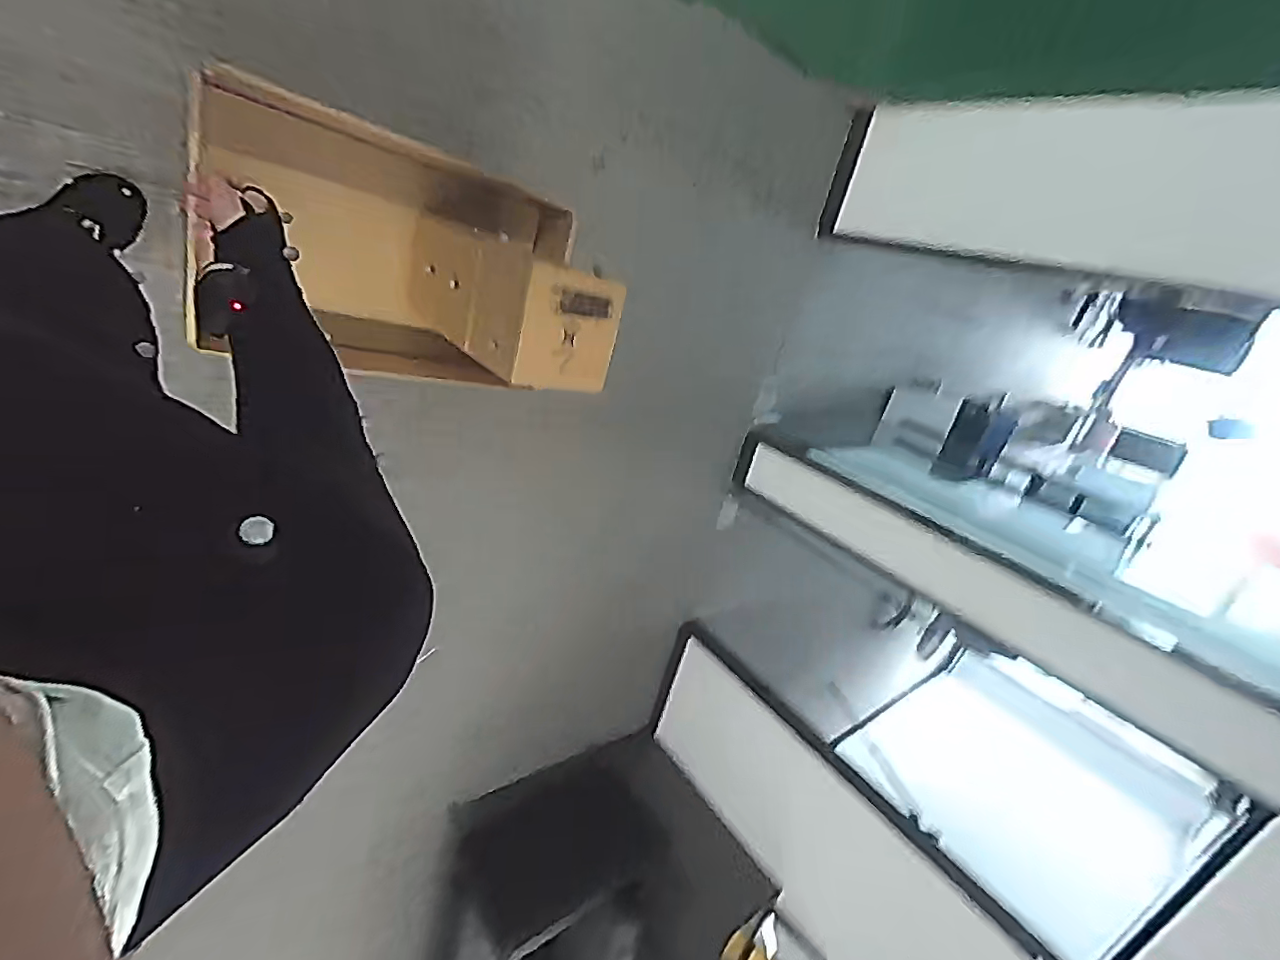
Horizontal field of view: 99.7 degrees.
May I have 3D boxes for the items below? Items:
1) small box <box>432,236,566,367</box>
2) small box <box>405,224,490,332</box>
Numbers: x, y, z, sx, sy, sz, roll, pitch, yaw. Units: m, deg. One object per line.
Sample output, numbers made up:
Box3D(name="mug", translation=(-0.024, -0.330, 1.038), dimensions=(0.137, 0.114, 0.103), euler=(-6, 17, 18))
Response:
Box3D(name="small box", translation=(-0.260, -0.320, 0.972), dimensions=(0.168, 0.176, 0.179), euler=(-2, 116, -42))
Box3D(name="small box", translation=(-0.357, -0.391, 1.084), dimensions=(0.168, 0.176, 0.179), euler=(0, 116, -42))
